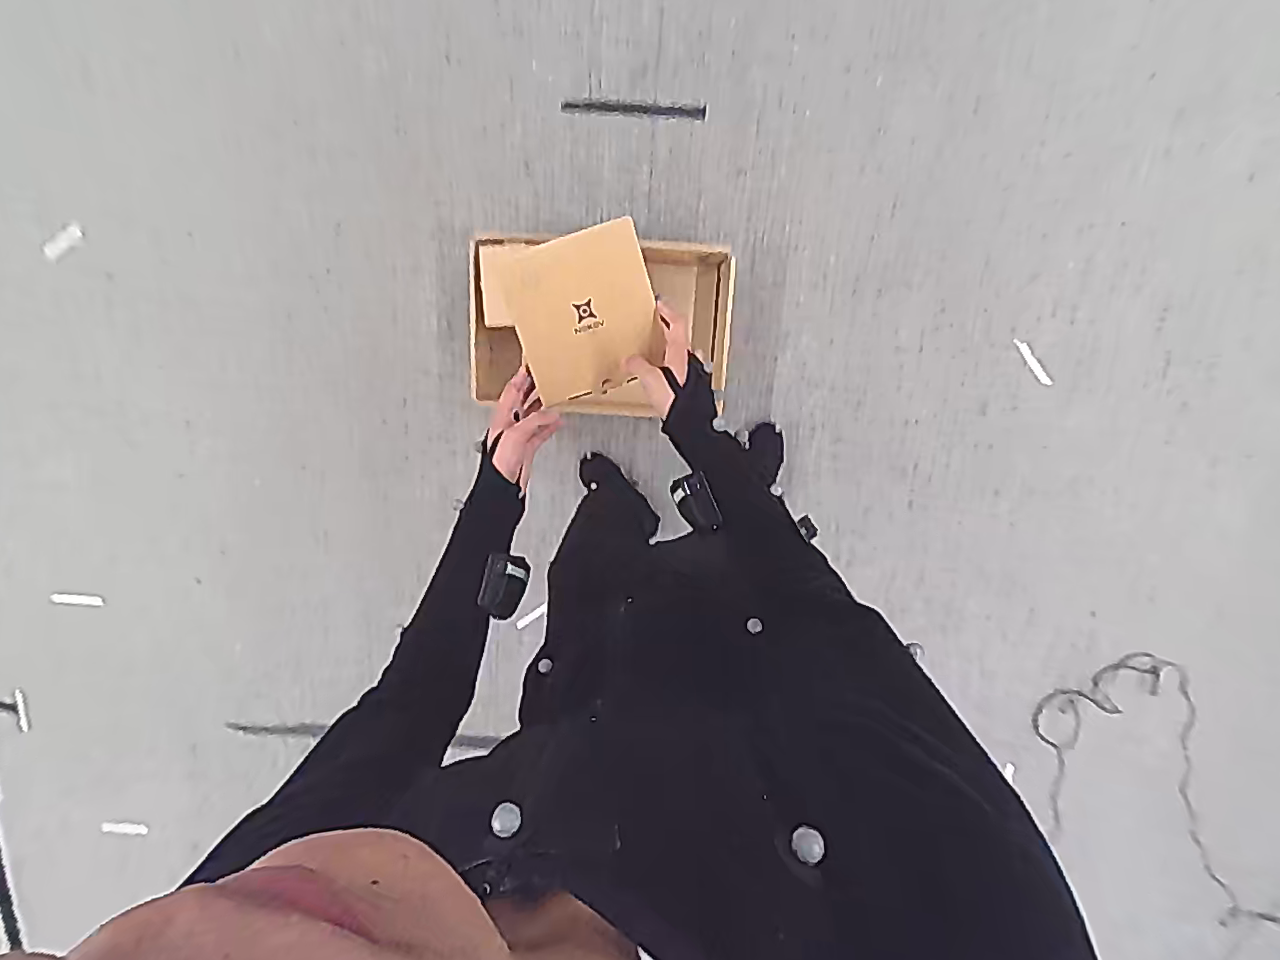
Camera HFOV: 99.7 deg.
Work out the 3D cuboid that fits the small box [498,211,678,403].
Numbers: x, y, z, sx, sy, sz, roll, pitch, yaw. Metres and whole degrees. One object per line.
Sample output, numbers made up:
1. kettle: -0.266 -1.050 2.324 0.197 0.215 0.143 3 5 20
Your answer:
1. small box: -0.061 -0.210 0.687 0.168 0.176 0.179 -17 105 2
